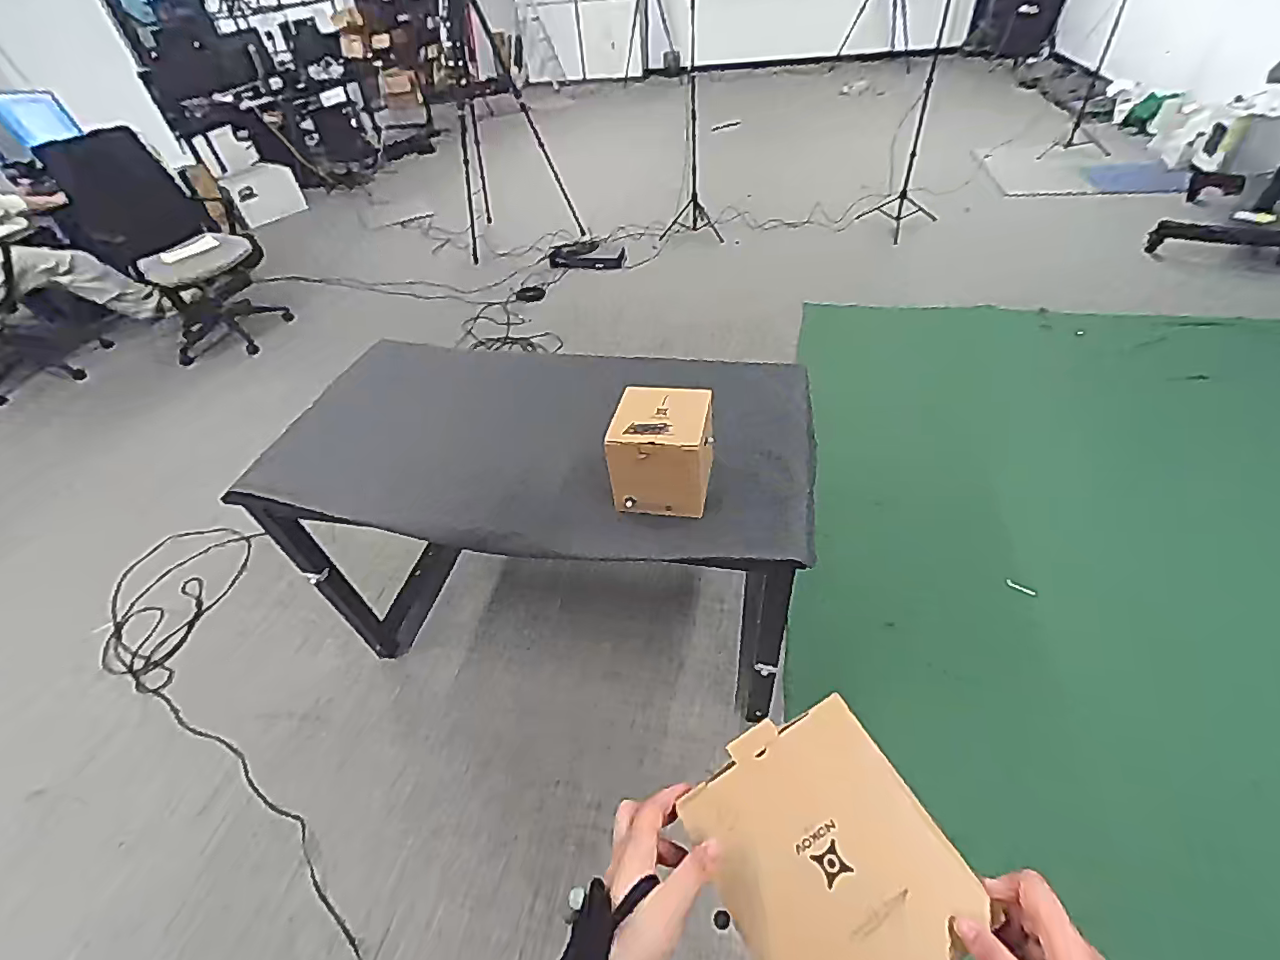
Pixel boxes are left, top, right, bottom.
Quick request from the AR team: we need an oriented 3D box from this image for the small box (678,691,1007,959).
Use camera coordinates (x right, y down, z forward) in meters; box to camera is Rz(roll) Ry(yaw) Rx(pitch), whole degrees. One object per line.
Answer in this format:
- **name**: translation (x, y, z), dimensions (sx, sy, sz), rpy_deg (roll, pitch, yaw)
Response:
- **small box**: translation (0.148, 0.317, 0.463), dimensions (0.168, 0.176, 0.179), rpy_deg (-30, 59, -11)

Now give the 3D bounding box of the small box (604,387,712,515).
- **small box**: translation (0.043, -0.054, 1.008), dimensions (0.168, 0.176, 0.179), rpy_deg (5, 43, 13)
